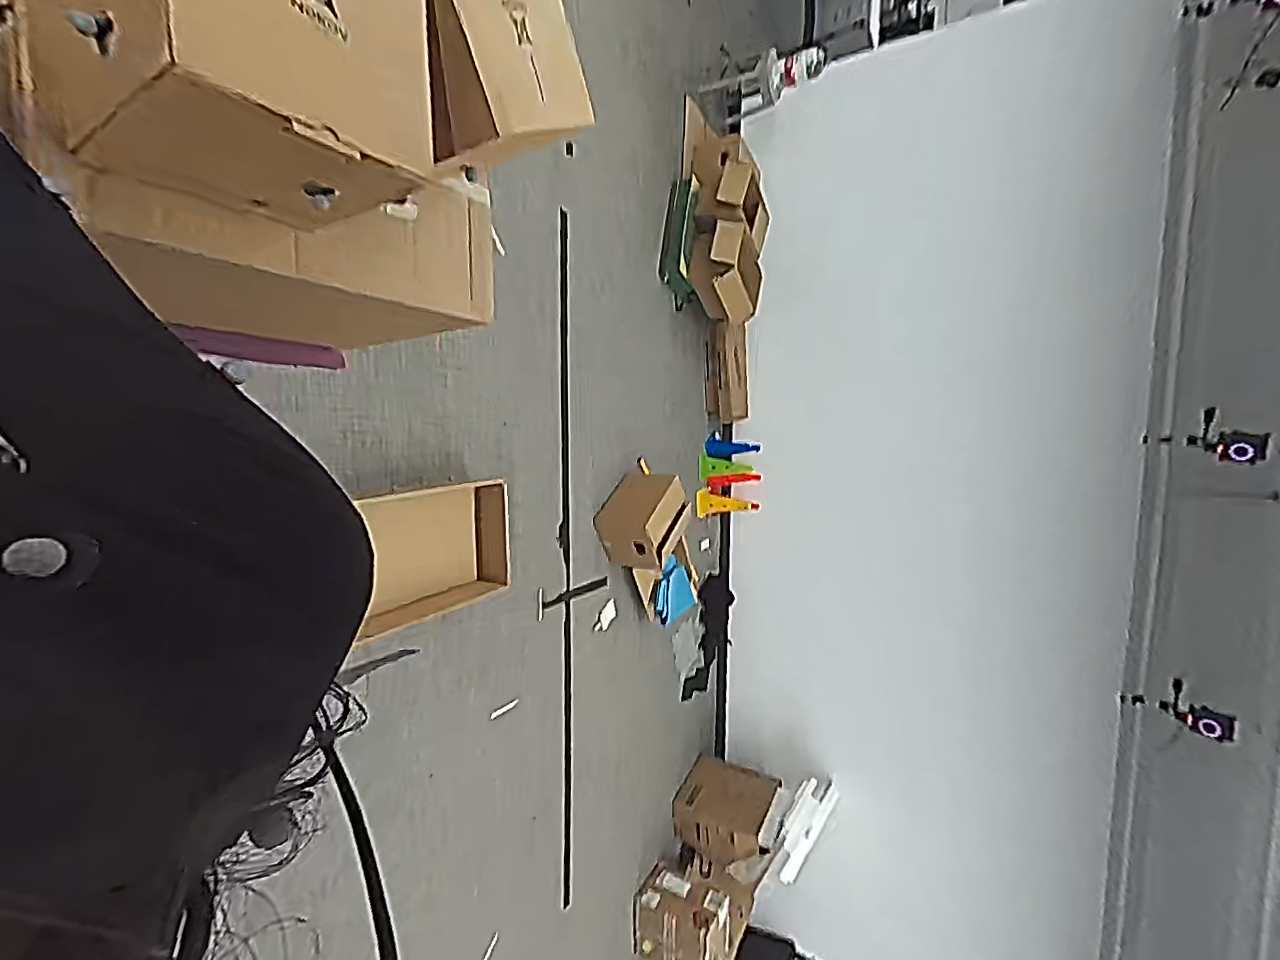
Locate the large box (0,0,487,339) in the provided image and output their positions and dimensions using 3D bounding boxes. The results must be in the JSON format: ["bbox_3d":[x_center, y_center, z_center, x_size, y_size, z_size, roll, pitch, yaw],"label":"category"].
[{"bbox_3d":[-0.427,-0.346,0.584,0.408,0.320,0.320,-8,100,-59],"label":"large box"}]

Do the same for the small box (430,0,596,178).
[{"bbox_3d":[-0.173,-0.412,0.523,0.168,0.176,0.179,-49,132,-46],"label":"small box"}]

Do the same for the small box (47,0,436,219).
[{"bbox_3d":[-0.268,-0.306,0.375,0.168,0.176,0.179,-10,100,-60],"label":"small box"}]
